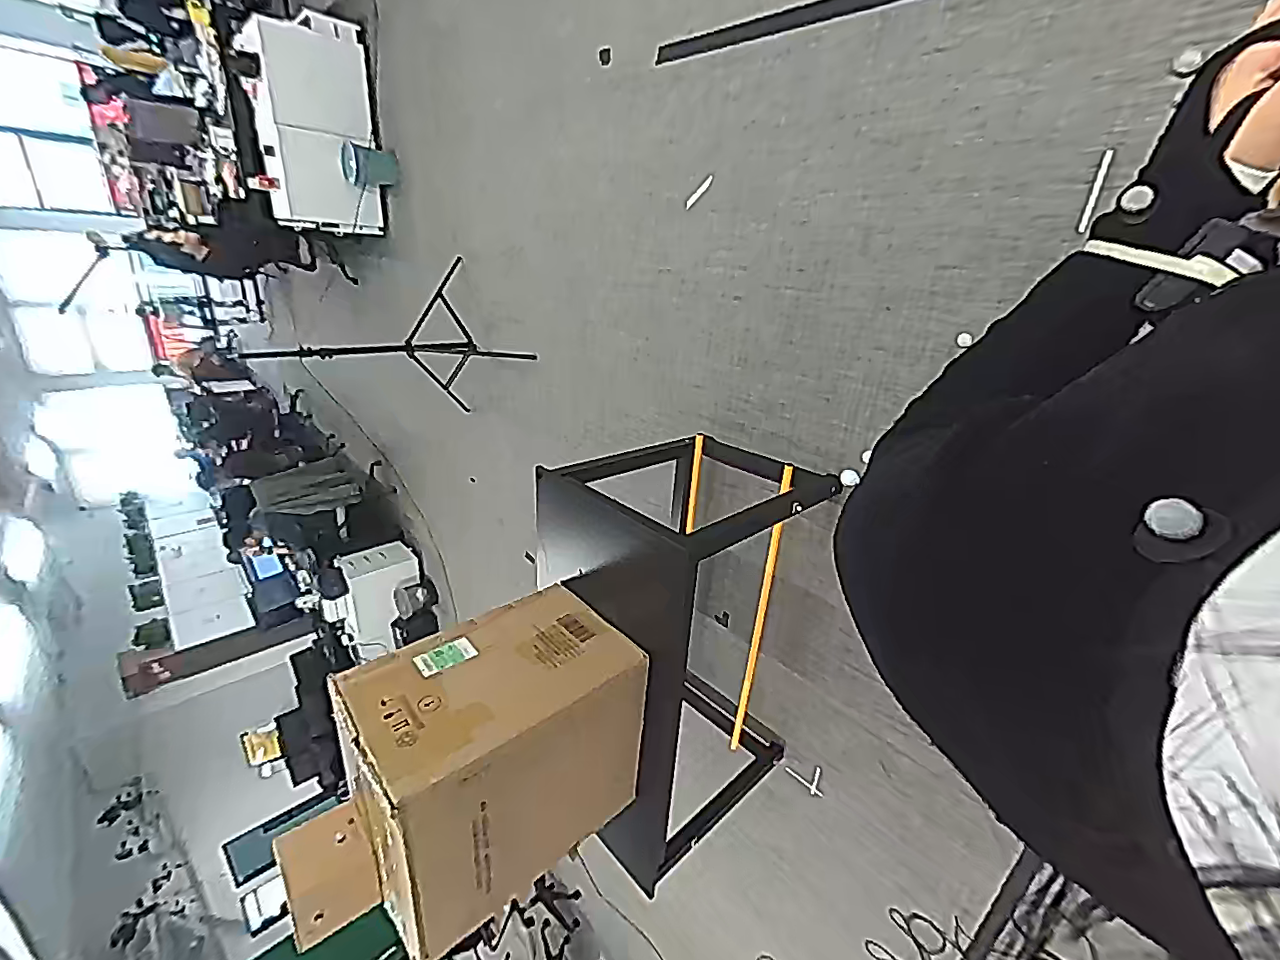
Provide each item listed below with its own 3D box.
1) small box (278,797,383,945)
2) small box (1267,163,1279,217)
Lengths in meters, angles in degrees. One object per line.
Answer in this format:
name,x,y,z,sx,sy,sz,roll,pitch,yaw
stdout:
small box,-0.699,0.879,1.231,0.168,0.176,0.179,28,121,43
small box,1.099,-0.509,0.819,0.168,0.176,0.179,19,118,45
